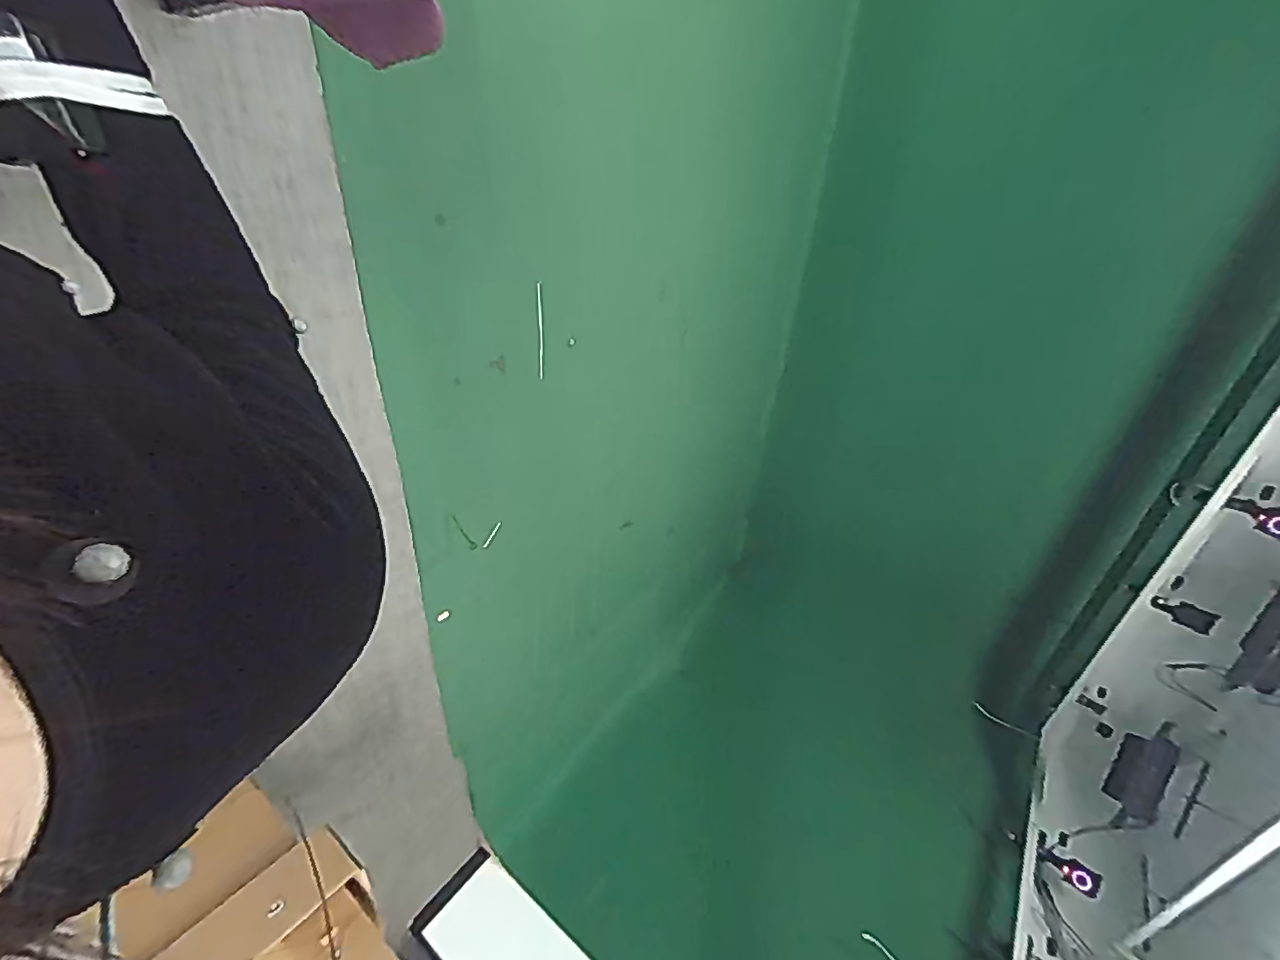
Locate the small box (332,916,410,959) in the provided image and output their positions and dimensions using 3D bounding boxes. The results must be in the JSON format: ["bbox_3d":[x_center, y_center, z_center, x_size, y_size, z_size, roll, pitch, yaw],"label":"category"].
[{"bbox_3d":[-0.684,1.271,1.362,0.179,0.176,0.168,-31,135,-43],"label":"small box"}]
